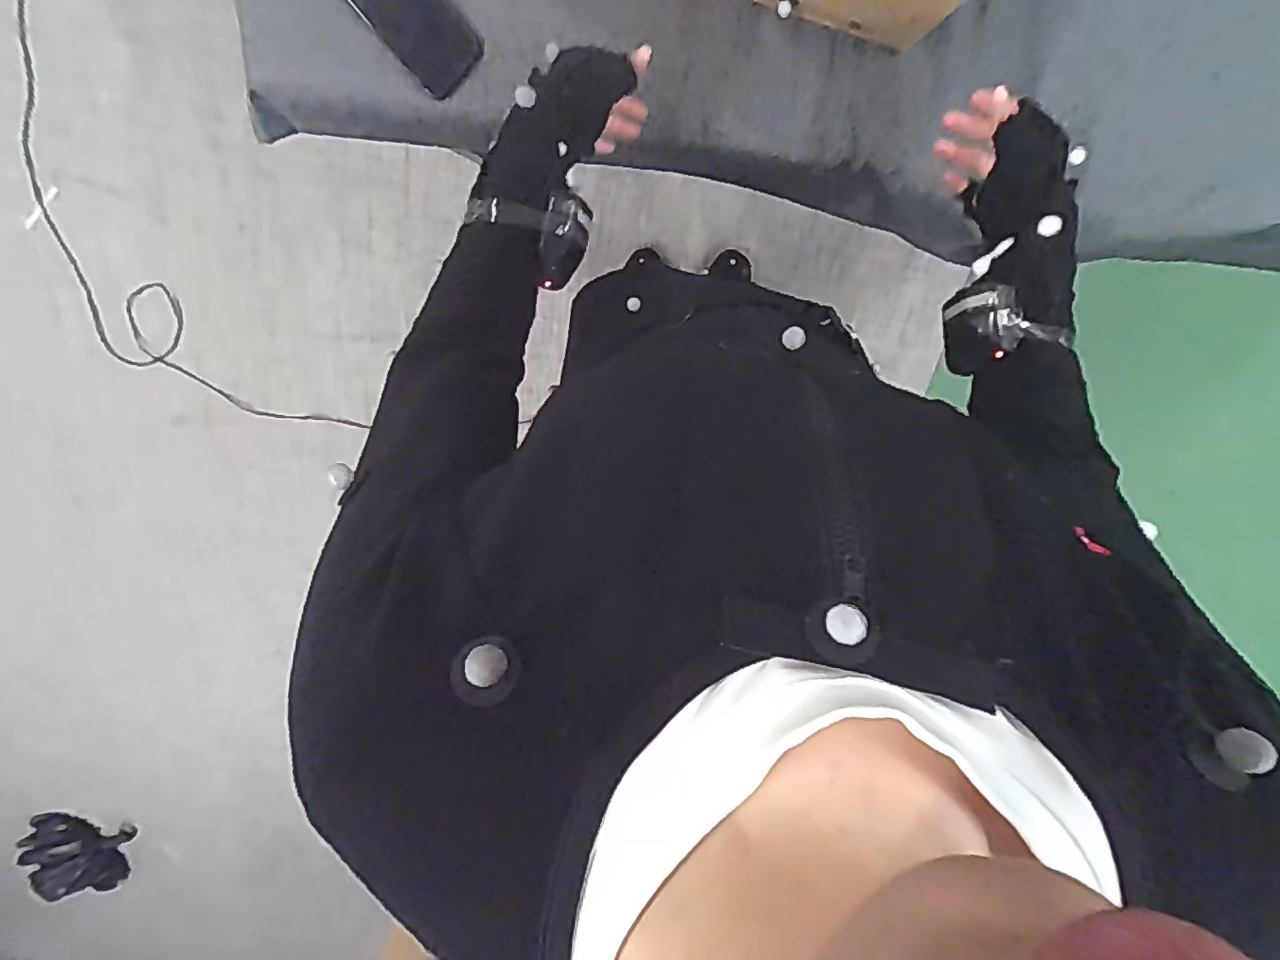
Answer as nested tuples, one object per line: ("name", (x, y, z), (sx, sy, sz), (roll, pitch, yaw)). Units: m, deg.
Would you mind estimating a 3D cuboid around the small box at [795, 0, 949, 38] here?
("small box", (0.209, -0.498, 0.427), (0.168, 0.176, 0.179), (15, 112, -4))
